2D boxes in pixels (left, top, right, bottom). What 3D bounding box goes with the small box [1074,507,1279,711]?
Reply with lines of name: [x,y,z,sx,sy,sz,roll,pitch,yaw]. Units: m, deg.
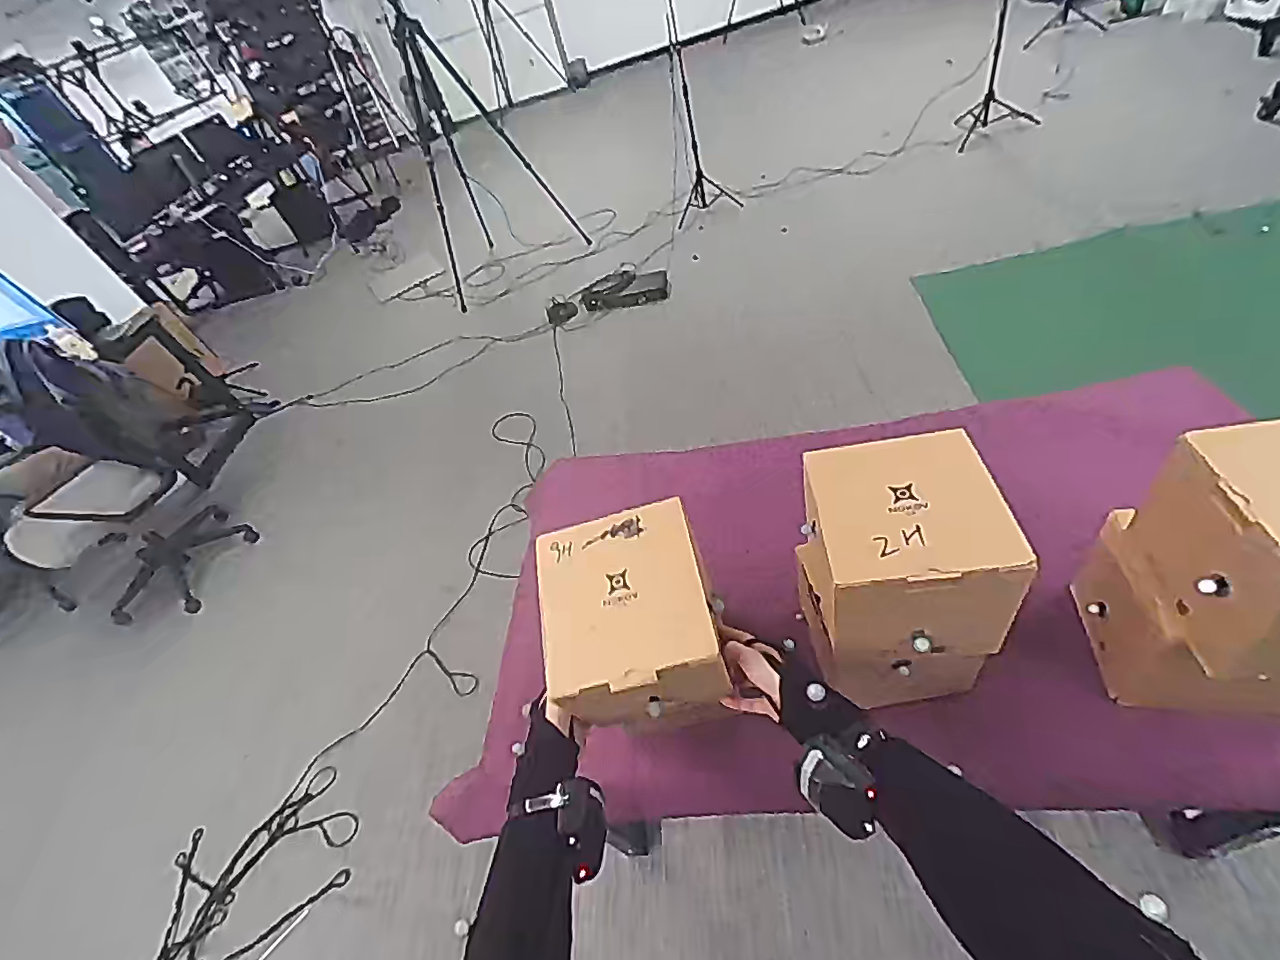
small box: [0.637,0.145,0.609,0.179,0.176,0.168,-3,47,20]

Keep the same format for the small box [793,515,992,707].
small box: [0.311,0.175,0.701,0.179,0.176,0.168,-13,45,7]

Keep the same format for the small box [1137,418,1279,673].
small box: [0.591,0.058,0.475,0.179,0.176,0.168,-7,46,15]
